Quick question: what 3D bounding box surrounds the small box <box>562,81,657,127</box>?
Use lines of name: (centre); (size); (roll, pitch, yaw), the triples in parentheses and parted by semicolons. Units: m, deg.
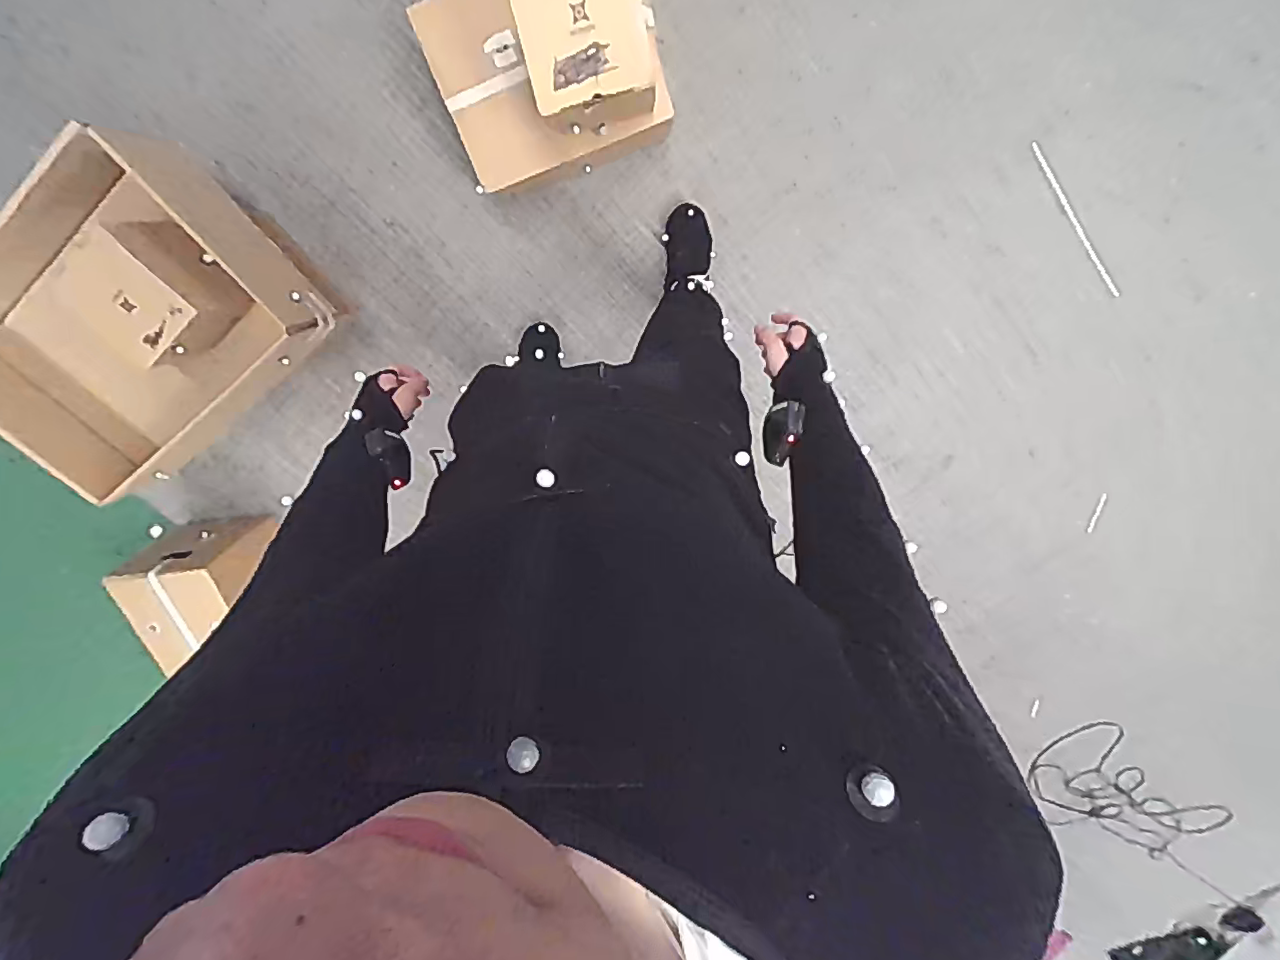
small box: (-0.070, -0.711, 0.896); (0.168, 0.176, 0.179); (-11, 118, 6)

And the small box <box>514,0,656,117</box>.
small box: (-0.072, -0.628, 0.754); (0.168, 0.176, 0.179); (-11, 118, 6)

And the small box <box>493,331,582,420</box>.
small box: (-0.272, -0.286, 1.487); (0.168, 0.176, 0.179); (35, 100, -5)

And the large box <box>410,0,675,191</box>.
large box: (-0.168, -0.832, 1.109); (0.408, 0.320, 0.320); (-17, 115, 9)
